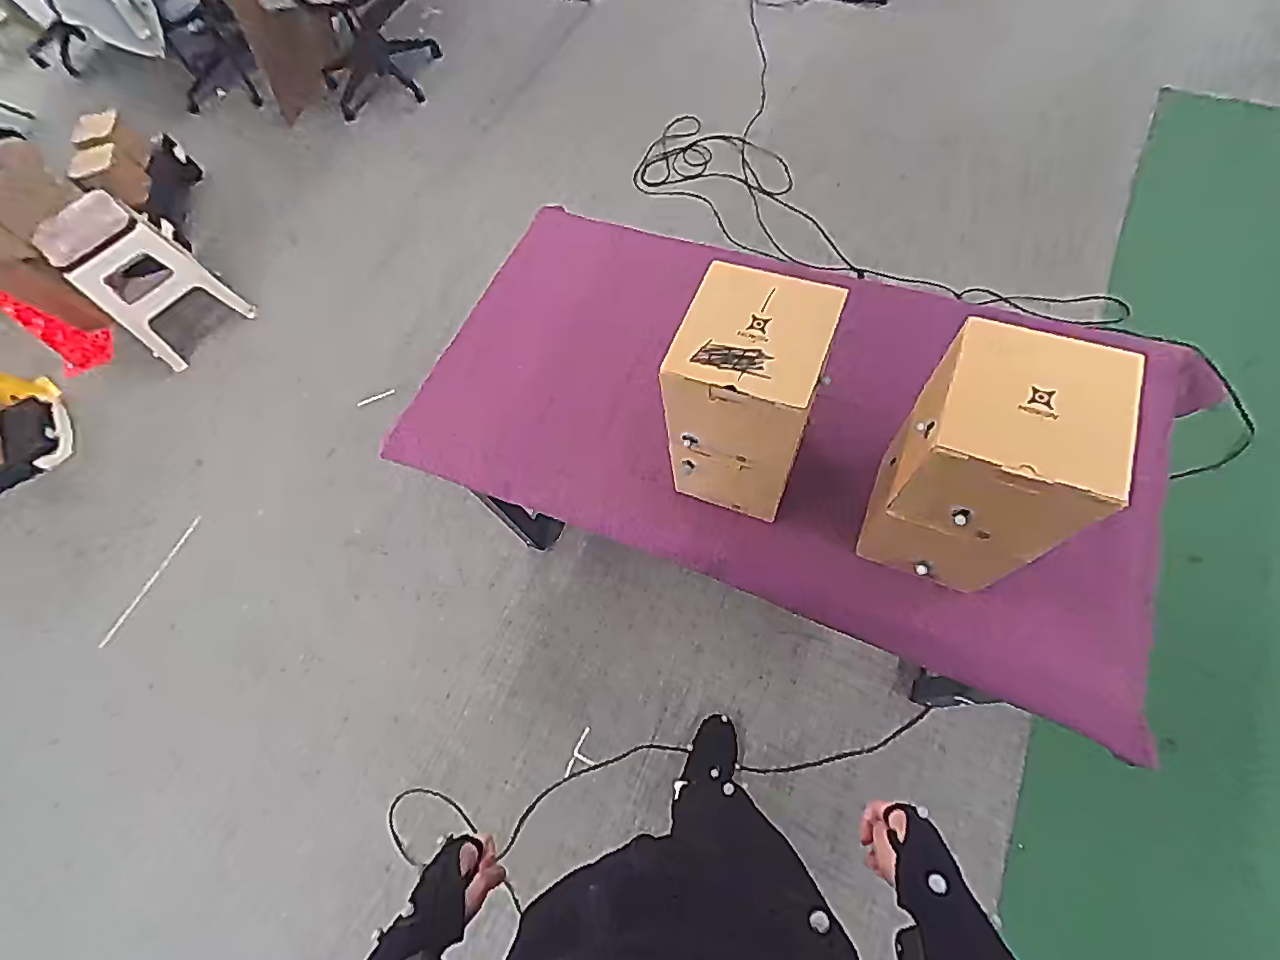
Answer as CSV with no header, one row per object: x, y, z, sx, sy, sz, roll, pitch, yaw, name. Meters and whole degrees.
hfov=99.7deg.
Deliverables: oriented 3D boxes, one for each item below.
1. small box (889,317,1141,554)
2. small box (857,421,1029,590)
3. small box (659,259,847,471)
0.400,-0.043,0.603,0.168,0.176,0.179,20,70,15,small box
0.418,0.028,0.748,0.168,0.176,0.179,20,70,16,small box
0.138,-0.136,0.678,0.168,0.176,0.179,20,69,15,small box
